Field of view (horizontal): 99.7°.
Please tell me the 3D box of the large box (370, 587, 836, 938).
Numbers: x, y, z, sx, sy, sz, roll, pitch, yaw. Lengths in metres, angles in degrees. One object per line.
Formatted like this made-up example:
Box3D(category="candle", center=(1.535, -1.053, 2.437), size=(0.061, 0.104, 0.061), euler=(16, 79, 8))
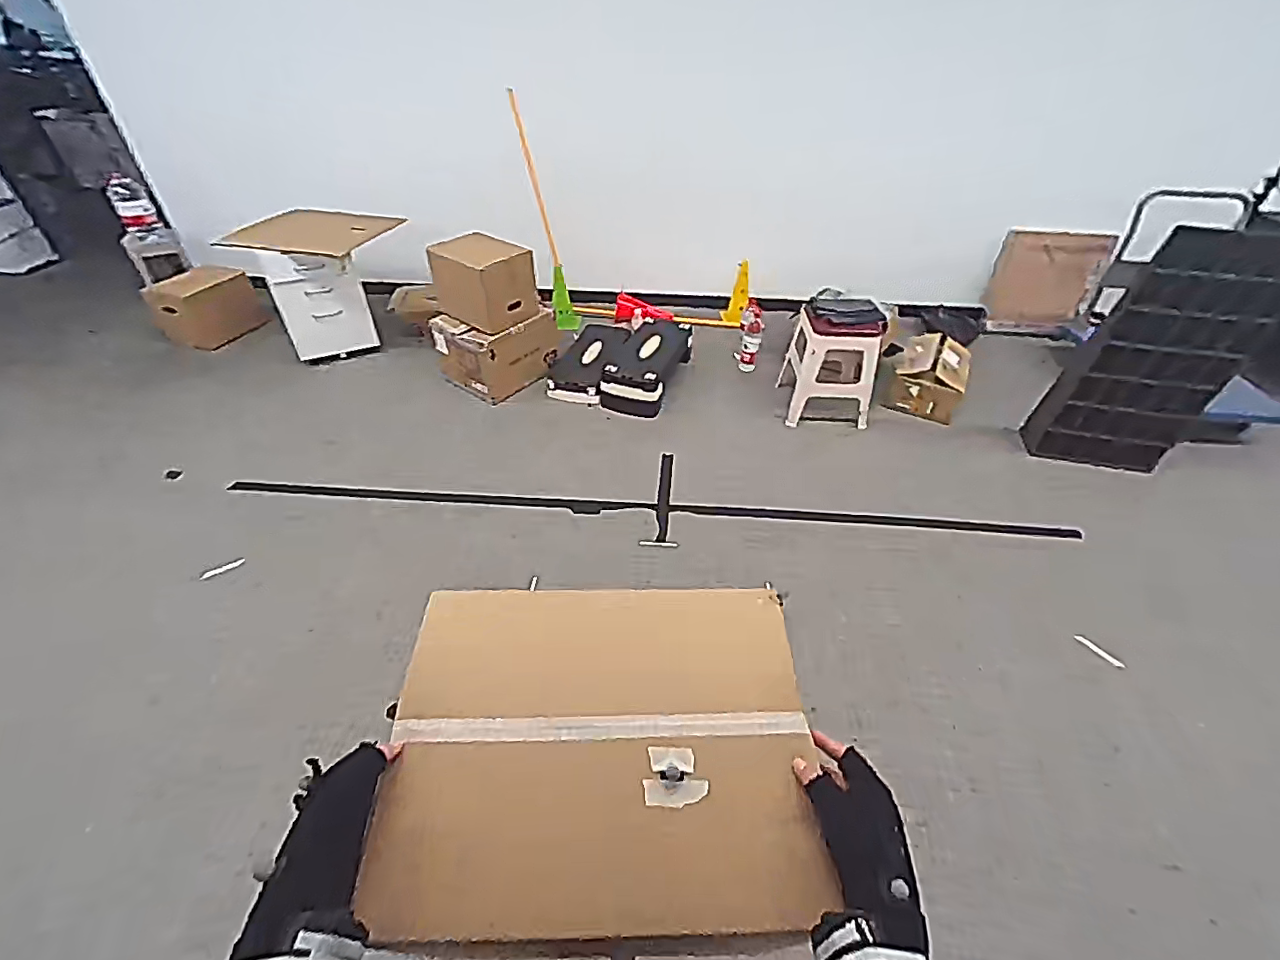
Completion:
Box3D(category="large box", center=(-0.037, 0.345, 0.662), size=(0.408, 0.320, 0.320), euler=(1, 48, -2))
